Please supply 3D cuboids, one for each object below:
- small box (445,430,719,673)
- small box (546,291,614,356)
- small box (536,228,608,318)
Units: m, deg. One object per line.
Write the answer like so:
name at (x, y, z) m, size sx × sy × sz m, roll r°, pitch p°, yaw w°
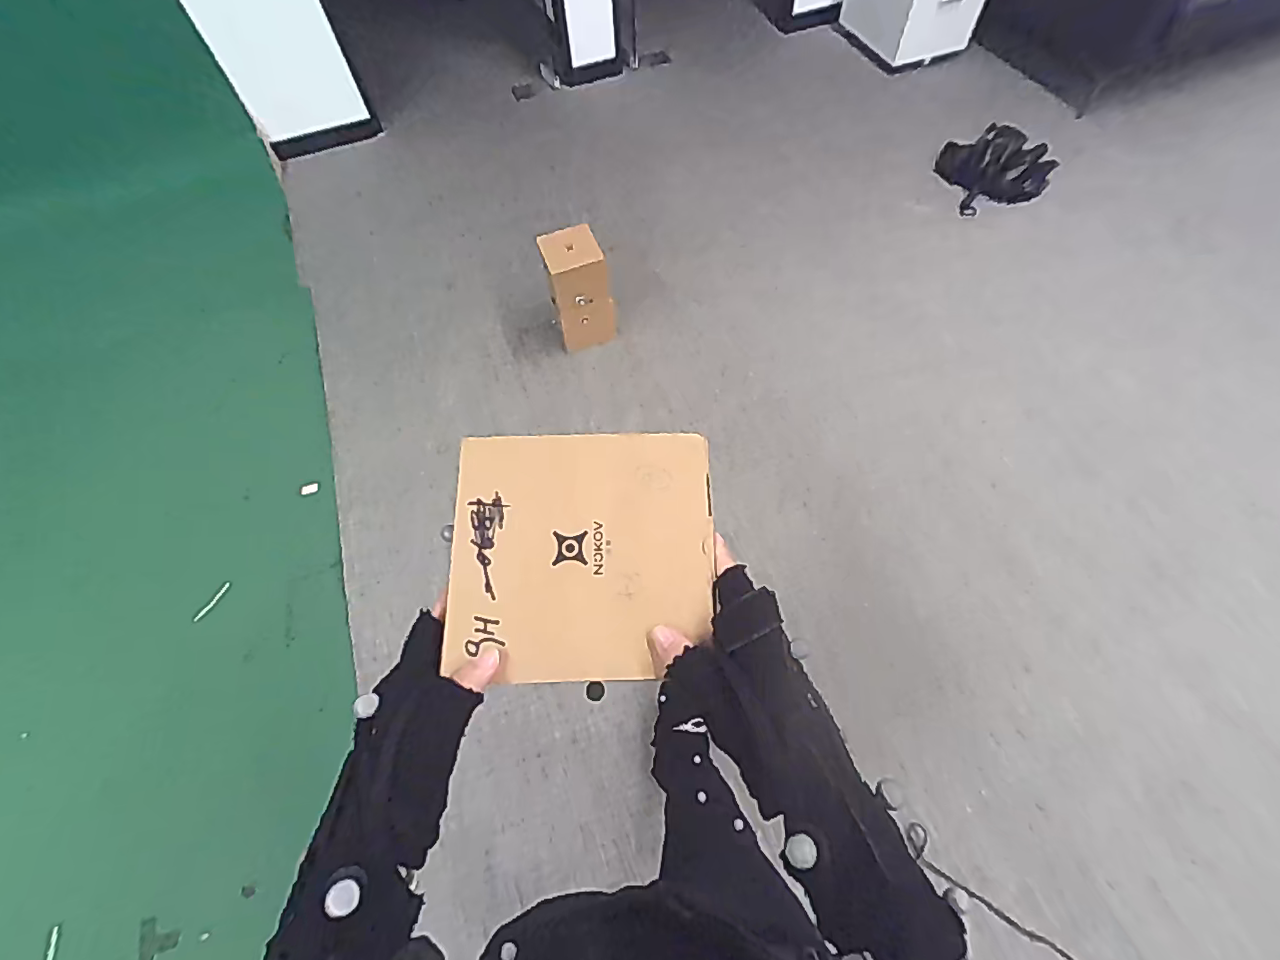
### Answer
small box at (-0.040, 0.069, 0.442) m, size 0.179 × 0.176 × 0.168 m, roll 0°, pitch 70°, yaw -2°
small box at (-0.199, -0.546, 1.826) m, size 0.179 × 0.176 × 0.168 m, roll -19°, pitch 62°, yaw -8°
small box at (-0.209, -0.639, 1.673) m, size 0.168 × 0.176 × 0.179 m, roll -20°, pitch 63°, yaw -7°
